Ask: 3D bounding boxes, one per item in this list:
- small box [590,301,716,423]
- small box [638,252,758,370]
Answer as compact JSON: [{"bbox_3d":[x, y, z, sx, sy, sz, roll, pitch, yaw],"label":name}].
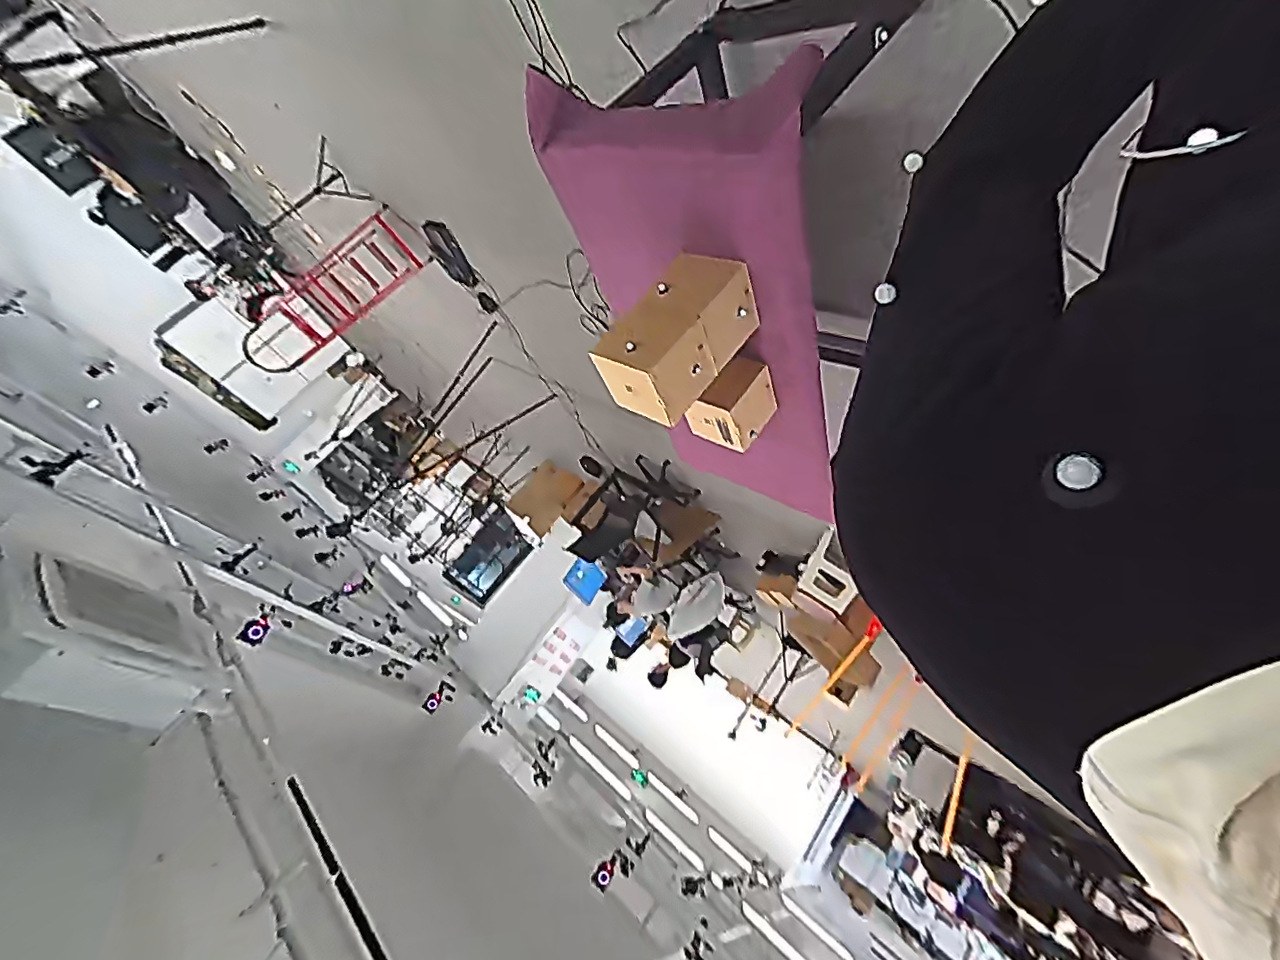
[{"bbox_3d":[0.032,-0.255,1.146,0.179,0.176,0.168,26,159,36],"label":"small box"},{"bbox_3d":[0.132,-0.377,1.189,0.179,0.176,0.168,27,161,36],"label":"small box"}]
